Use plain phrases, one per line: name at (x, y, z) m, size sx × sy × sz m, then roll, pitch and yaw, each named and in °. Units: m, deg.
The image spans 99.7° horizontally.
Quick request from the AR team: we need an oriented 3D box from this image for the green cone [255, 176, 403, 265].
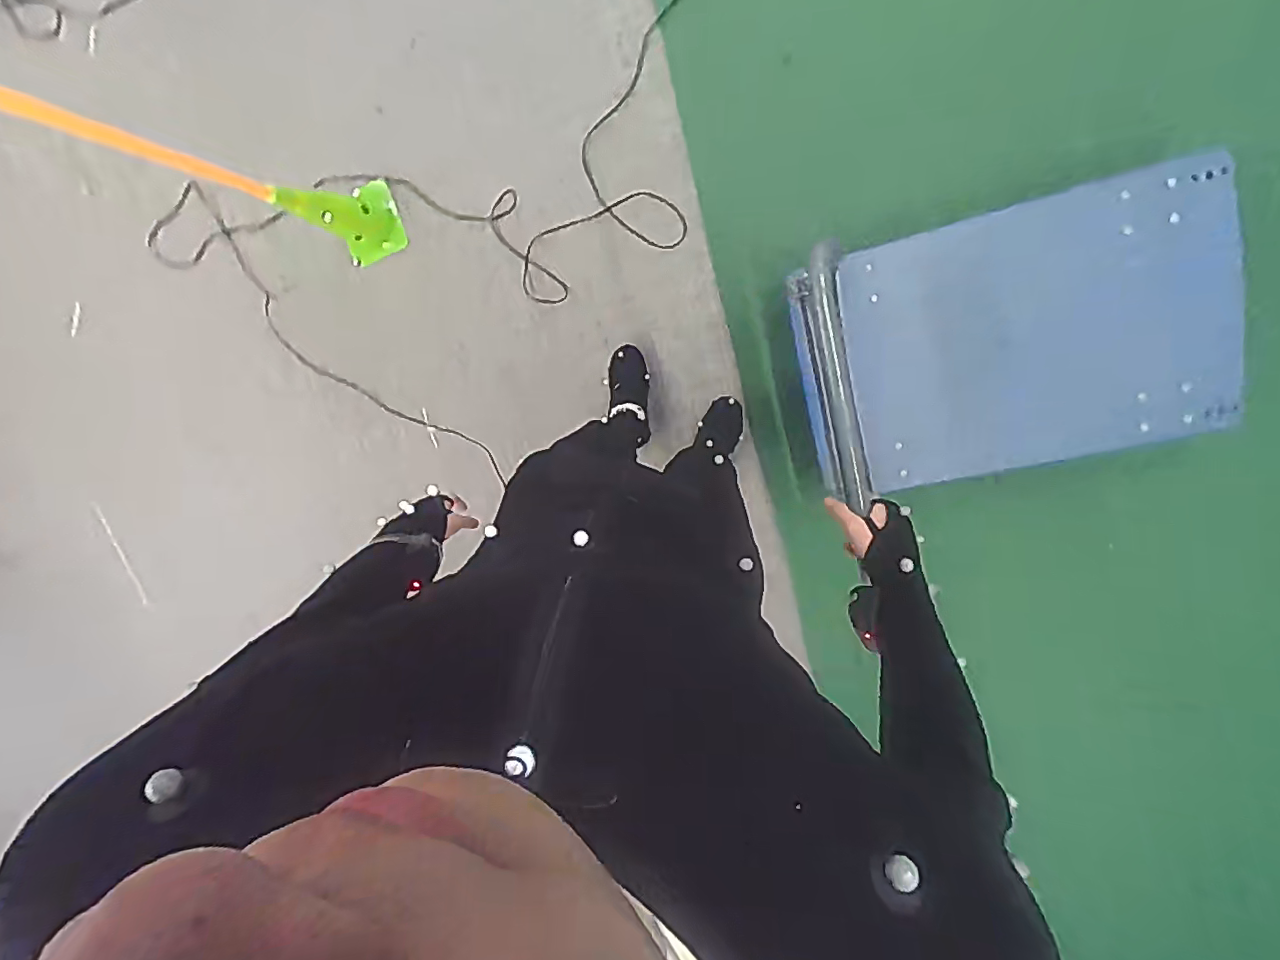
green cone at (-0.849, -0.729, 1.443) m, size 0.200 × 0.368 × 0.202 m, roll -16°, pitch 98°, yaw 15°
